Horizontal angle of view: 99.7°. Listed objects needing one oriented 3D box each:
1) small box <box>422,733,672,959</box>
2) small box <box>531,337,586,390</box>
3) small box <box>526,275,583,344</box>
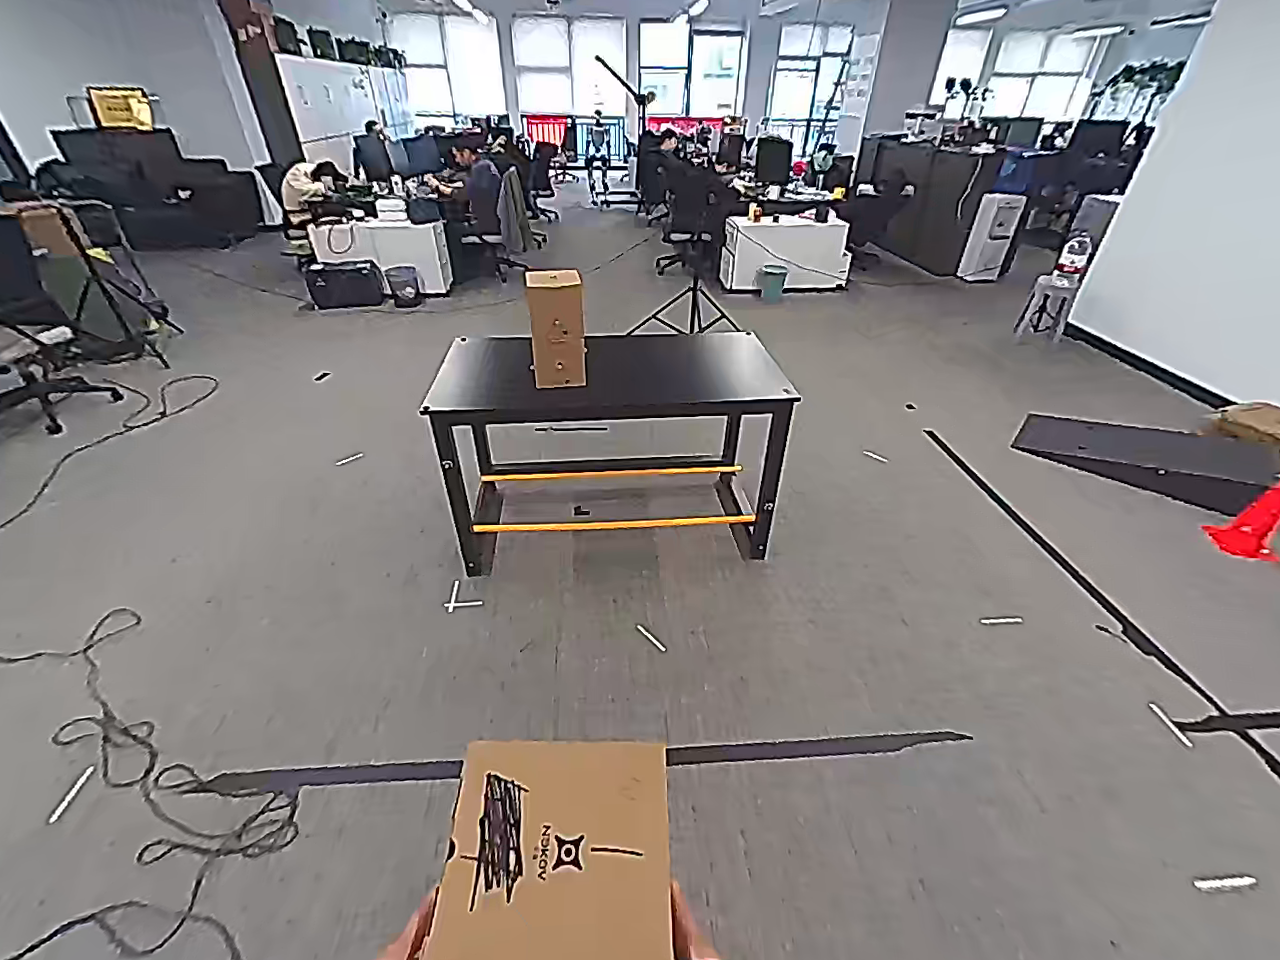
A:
[{"bbox_3d":[-0.065,0.343,0.479,0.179,0.176,0.168,1,43,-2],"label":"small box"},{"bbox_3d":[-0.276,-0.413,1.837,0.168,0.176,0.179,-6,36,-8],"label":"small box"},{"bbox_3d":[-0.276,-0.551,1.745,0.168,0.176,0.179,-7,36,-9],"label":"small box"}]
